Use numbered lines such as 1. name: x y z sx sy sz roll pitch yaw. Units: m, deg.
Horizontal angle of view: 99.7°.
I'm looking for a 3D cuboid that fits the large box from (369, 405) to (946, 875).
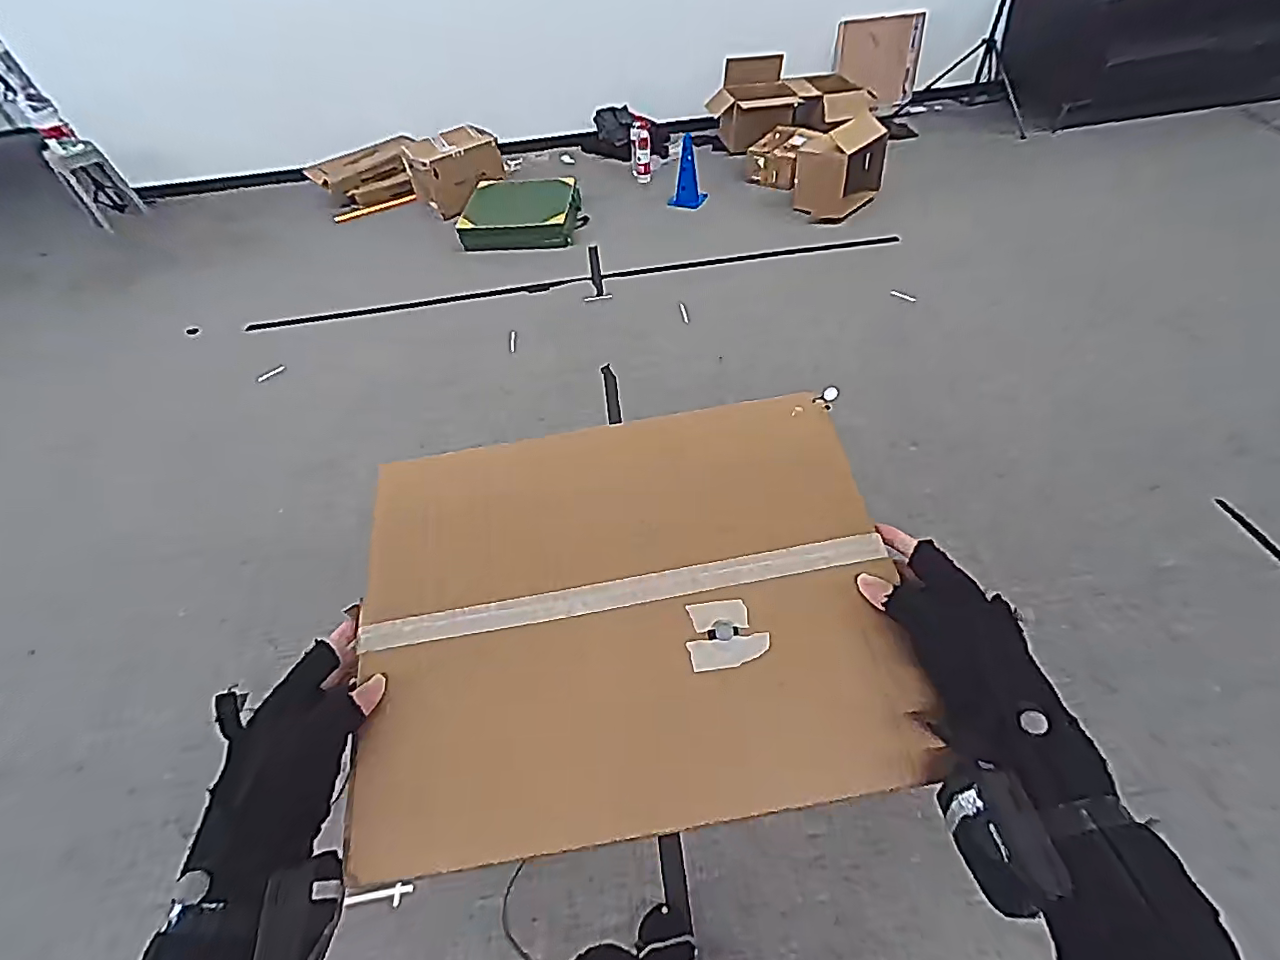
1. large box: -0.001 0.167 0.561 0.408 0.320 0.320 -10 61 -1
